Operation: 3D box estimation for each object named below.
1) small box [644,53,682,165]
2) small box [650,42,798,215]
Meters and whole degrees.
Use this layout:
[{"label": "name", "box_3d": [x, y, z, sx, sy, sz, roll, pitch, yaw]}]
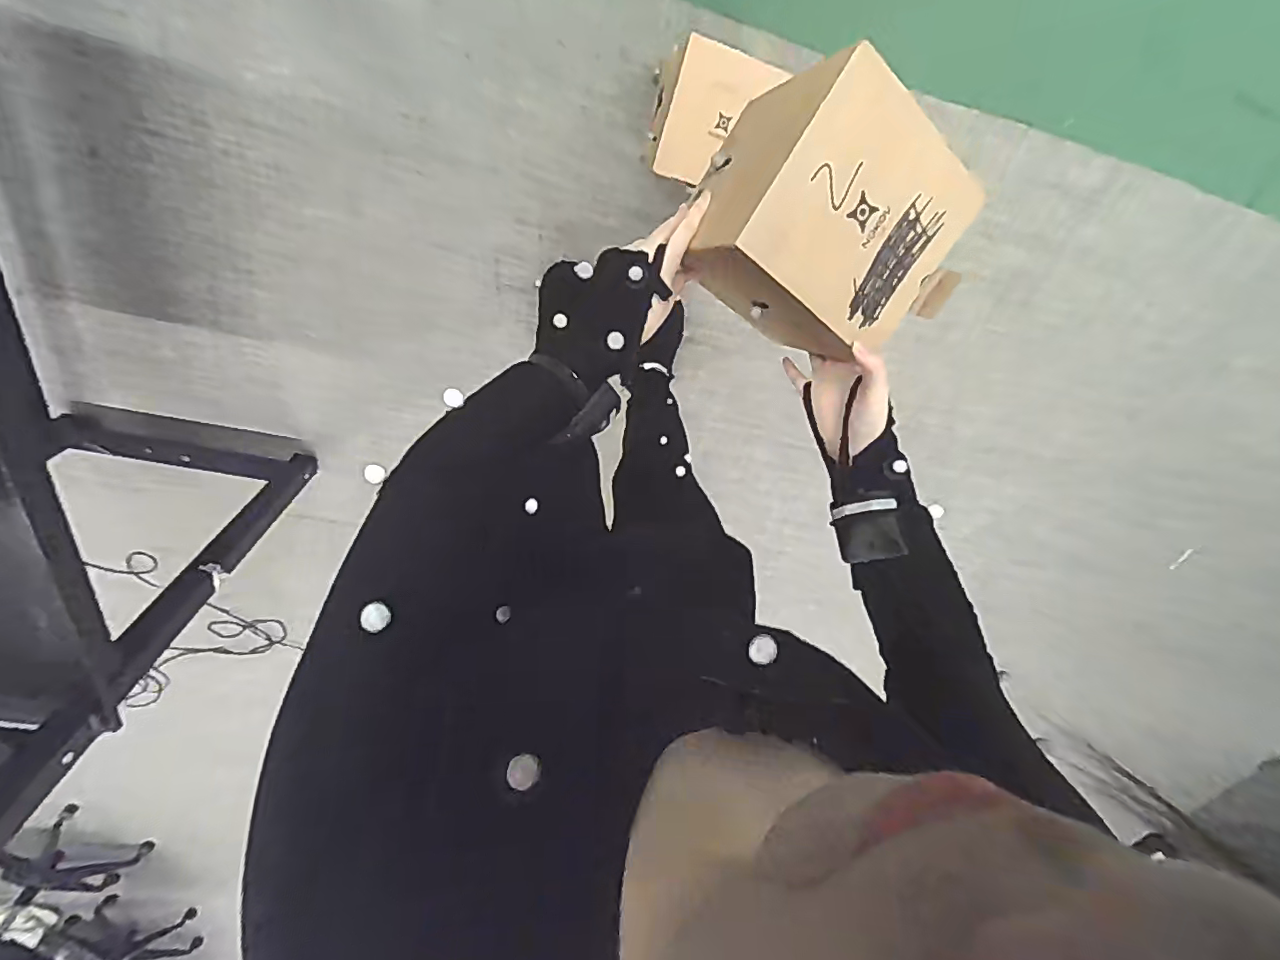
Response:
[{"label": "small box", "box_3d": [0.113, -0.635, 0.982, 0.179, 0.176, 0.168, 14, 121, -12]}, {"label": "small box", "box_3d": [0.118, -0.542, 0.849, 0.168, 0.176, 0.179, 12, 120, -12]}]
